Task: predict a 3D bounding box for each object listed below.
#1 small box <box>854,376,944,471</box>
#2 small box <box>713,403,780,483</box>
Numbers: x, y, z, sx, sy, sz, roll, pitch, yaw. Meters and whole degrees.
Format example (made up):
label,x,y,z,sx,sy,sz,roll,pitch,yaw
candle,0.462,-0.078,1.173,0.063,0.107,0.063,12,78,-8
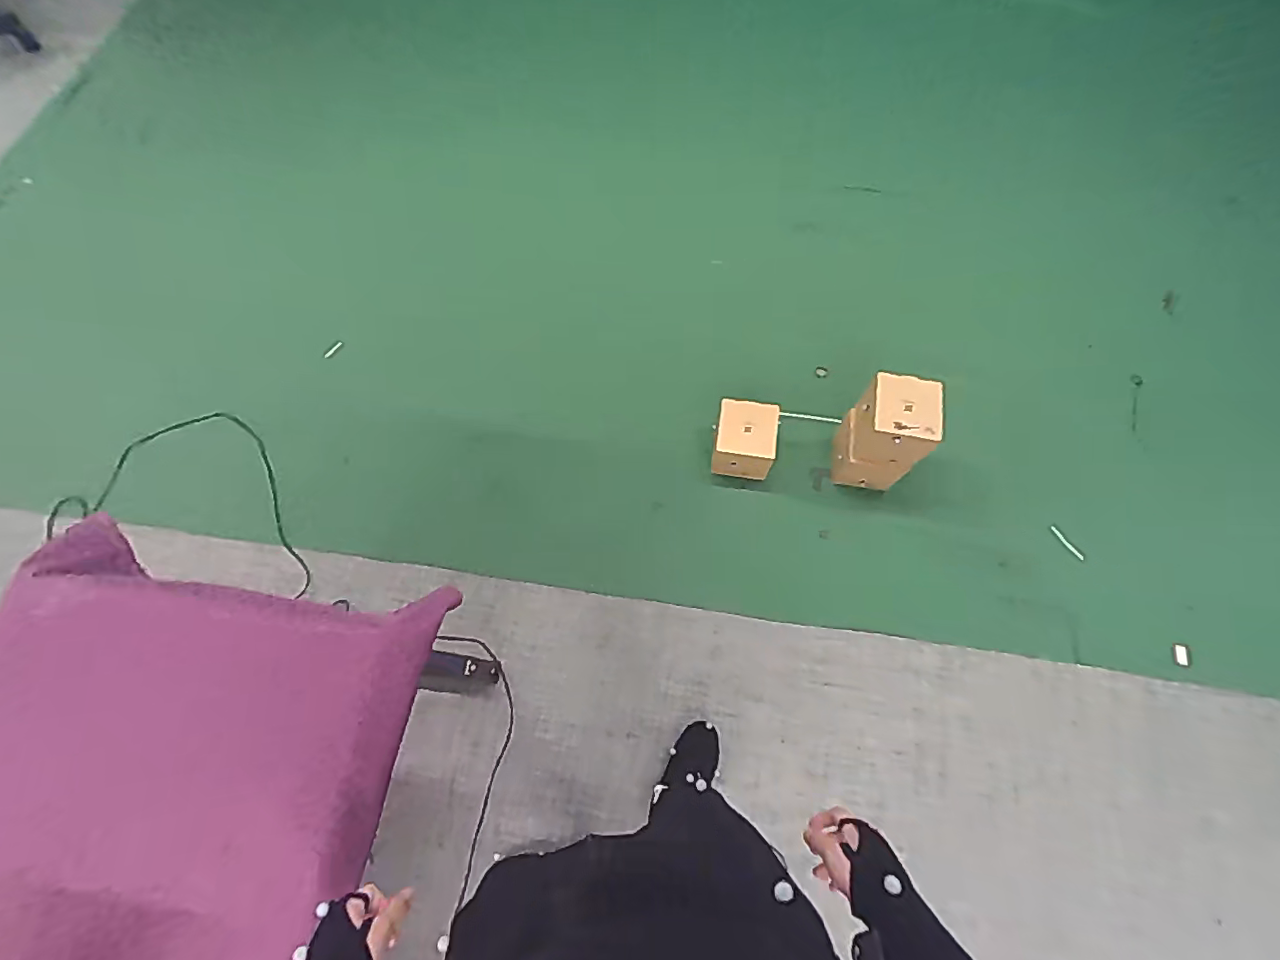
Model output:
label,x,y,z,sx,sy,sz,roll,pitch,yaw
small box,0.682,-0.146,1.436,0.168,0.176,0.179,11,68,6
small box,0.312,-0.105,1.609,0.168,0.176,0.179,8,67,5
